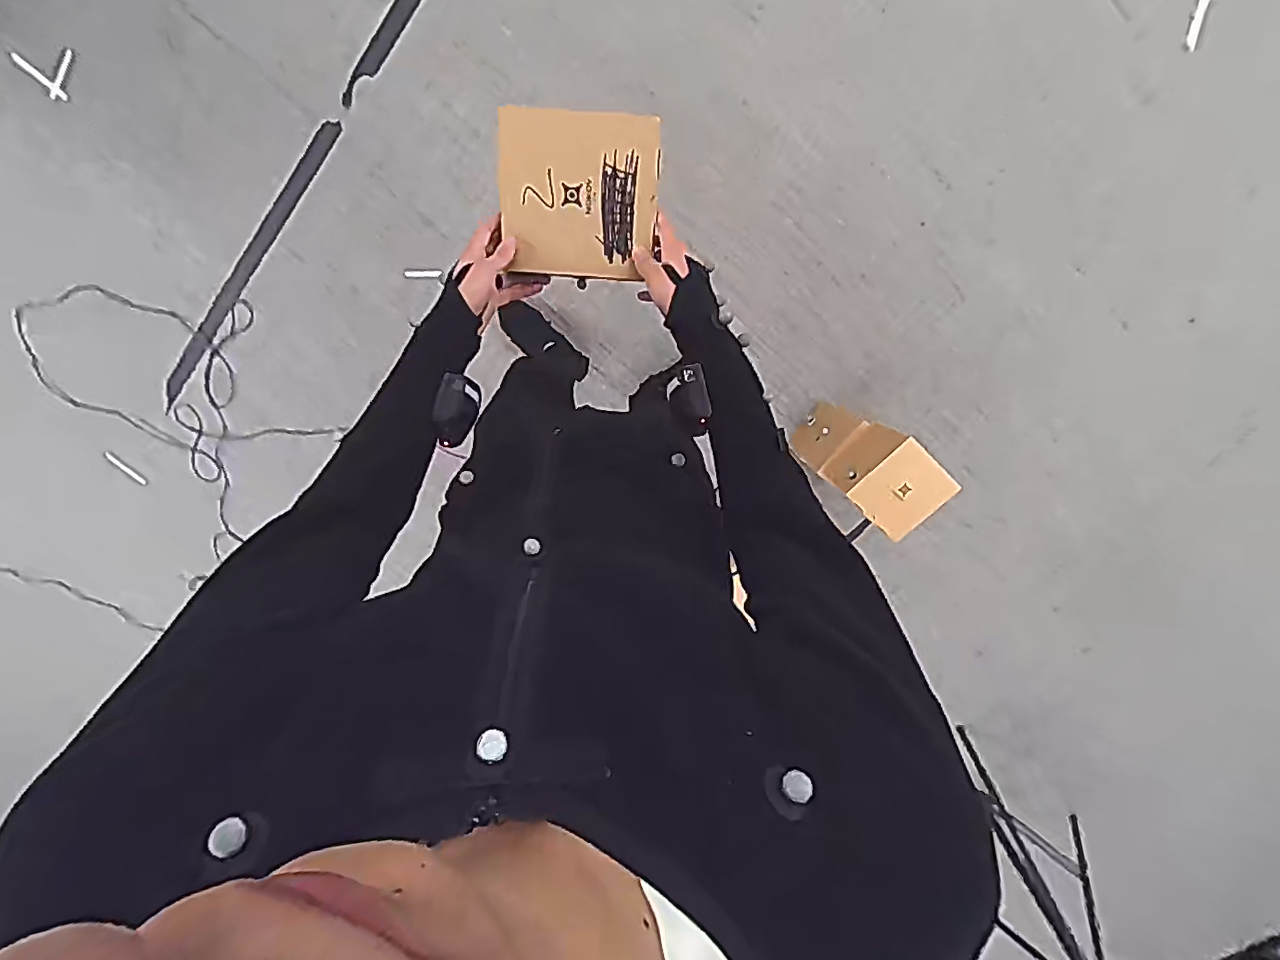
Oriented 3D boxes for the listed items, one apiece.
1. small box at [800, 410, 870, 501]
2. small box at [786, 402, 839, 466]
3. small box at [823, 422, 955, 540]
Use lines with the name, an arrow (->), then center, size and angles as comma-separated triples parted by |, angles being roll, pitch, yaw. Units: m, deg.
small box -> 0.533, -0.057, 1.358 | 0.179, 0.176, 0.168 | 37, 106, -9
small box -> 0.540, -0.100, 1.515 | 0.179, 0.176, 0.168 | 35, 107, -8
small box -> 0.541, -0.006, 1.203 | 0.168, 0.176, 0.179 | 42, 105, -11
